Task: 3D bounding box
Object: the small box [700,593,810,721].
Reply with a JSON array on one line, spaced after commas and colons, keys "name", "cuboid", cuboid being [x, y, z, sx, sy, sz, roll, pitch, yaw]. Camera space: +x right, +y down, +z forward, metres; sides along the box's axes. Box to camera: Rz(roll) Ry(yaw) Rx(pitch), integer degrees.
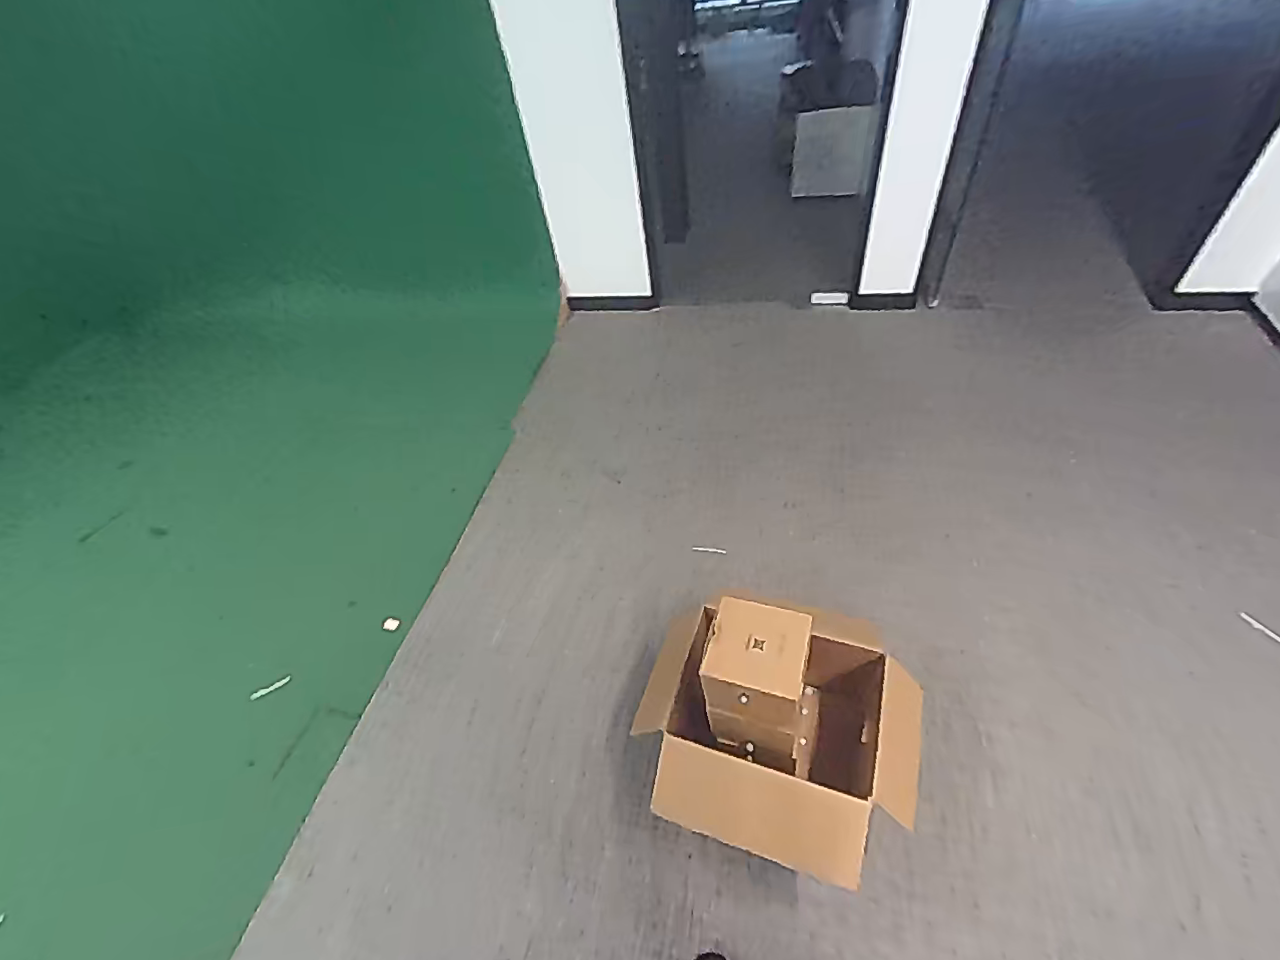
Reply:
[{"name": "small box", "cuboid": [0.228, 0.348, 1.056, 0.179, 0.176, 0.168, 8, 52, 19]}]
